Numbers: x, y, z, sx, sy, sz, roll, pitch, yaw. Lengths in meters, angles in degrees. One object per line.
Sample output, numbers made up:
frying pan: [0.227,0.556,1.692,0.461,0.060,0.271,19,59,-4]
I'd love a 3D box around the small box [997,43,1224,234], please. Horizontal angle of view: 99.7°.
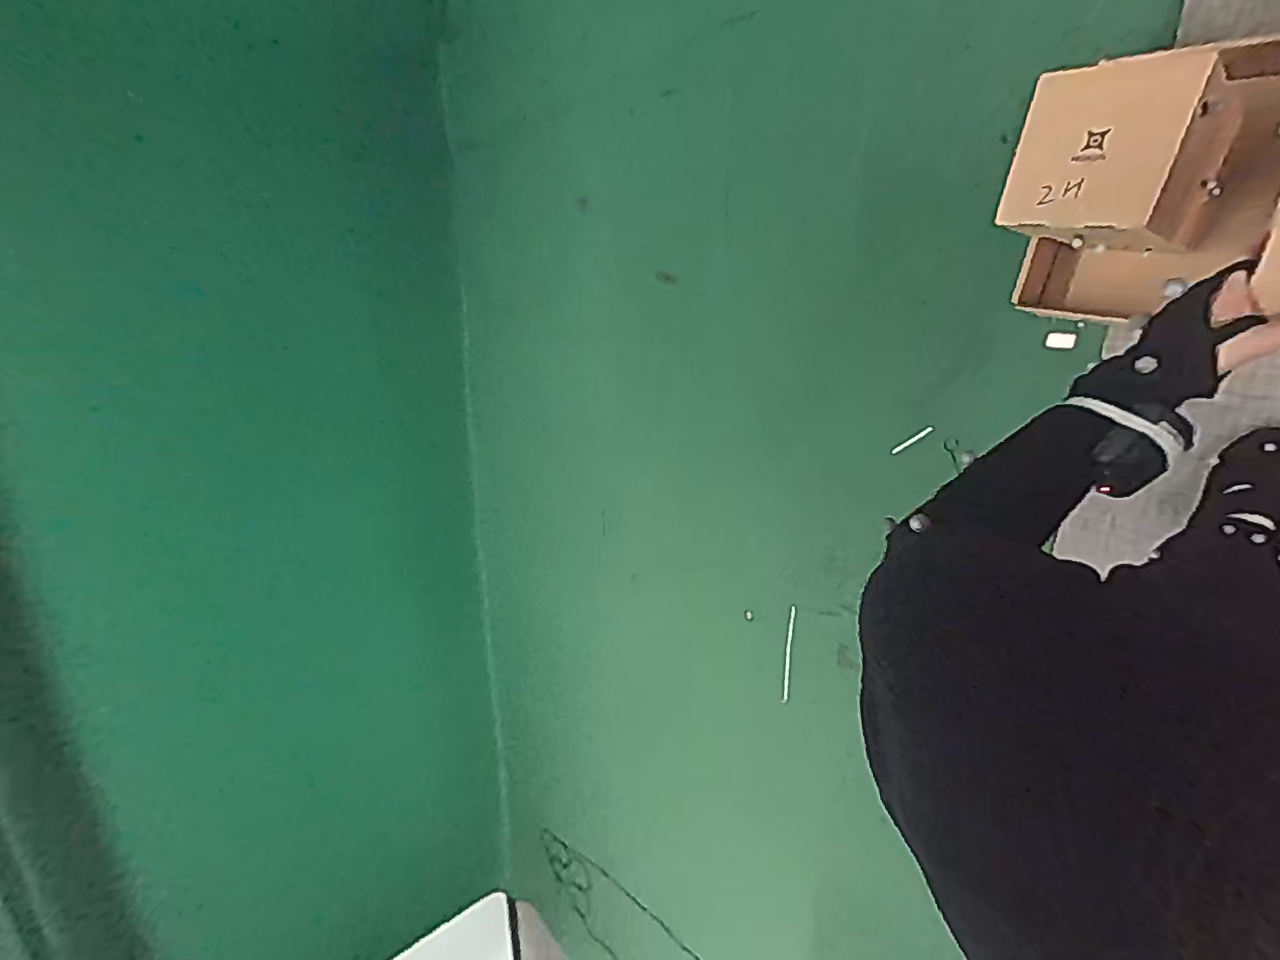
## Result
small box: [0.610,-0.428,0.707,0.168,0.176,0.179,28,123,42]

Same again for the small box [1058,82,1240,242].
small box: [0.736,-0.463,0.807,0.168,0.176,0.179,30,125,40]
